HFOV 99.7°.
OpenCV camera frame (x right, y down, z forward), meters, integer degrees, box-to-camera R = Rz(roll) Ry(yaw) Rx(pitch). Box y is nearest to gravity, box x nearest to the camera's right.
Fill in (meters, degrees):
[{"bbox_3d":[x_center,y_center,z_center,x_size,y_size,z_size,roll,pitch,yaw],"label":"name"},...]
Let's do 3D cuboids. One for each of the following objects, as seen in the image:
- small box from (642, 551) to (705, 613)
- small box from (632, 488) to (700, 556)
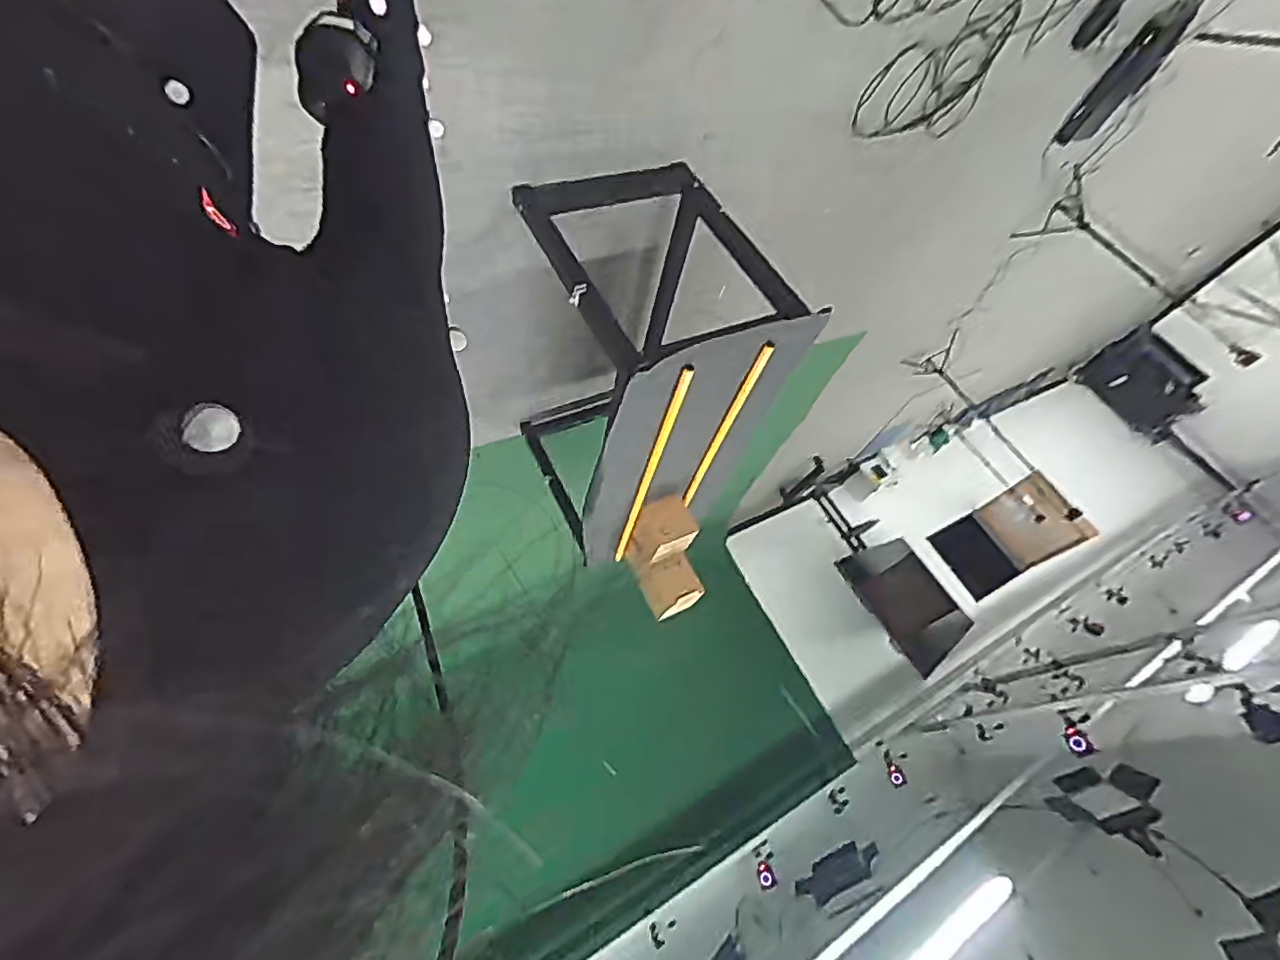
[{"bbox_3d":[0.128,0.402,2.159,0.168,0.176,0.179,-18,155,-26],"label":"small box"},{"bbox_3d":[0.092,0.156,2.026,0.179,0.176,0.168,-20,156,-24],"label":"small box"}]
